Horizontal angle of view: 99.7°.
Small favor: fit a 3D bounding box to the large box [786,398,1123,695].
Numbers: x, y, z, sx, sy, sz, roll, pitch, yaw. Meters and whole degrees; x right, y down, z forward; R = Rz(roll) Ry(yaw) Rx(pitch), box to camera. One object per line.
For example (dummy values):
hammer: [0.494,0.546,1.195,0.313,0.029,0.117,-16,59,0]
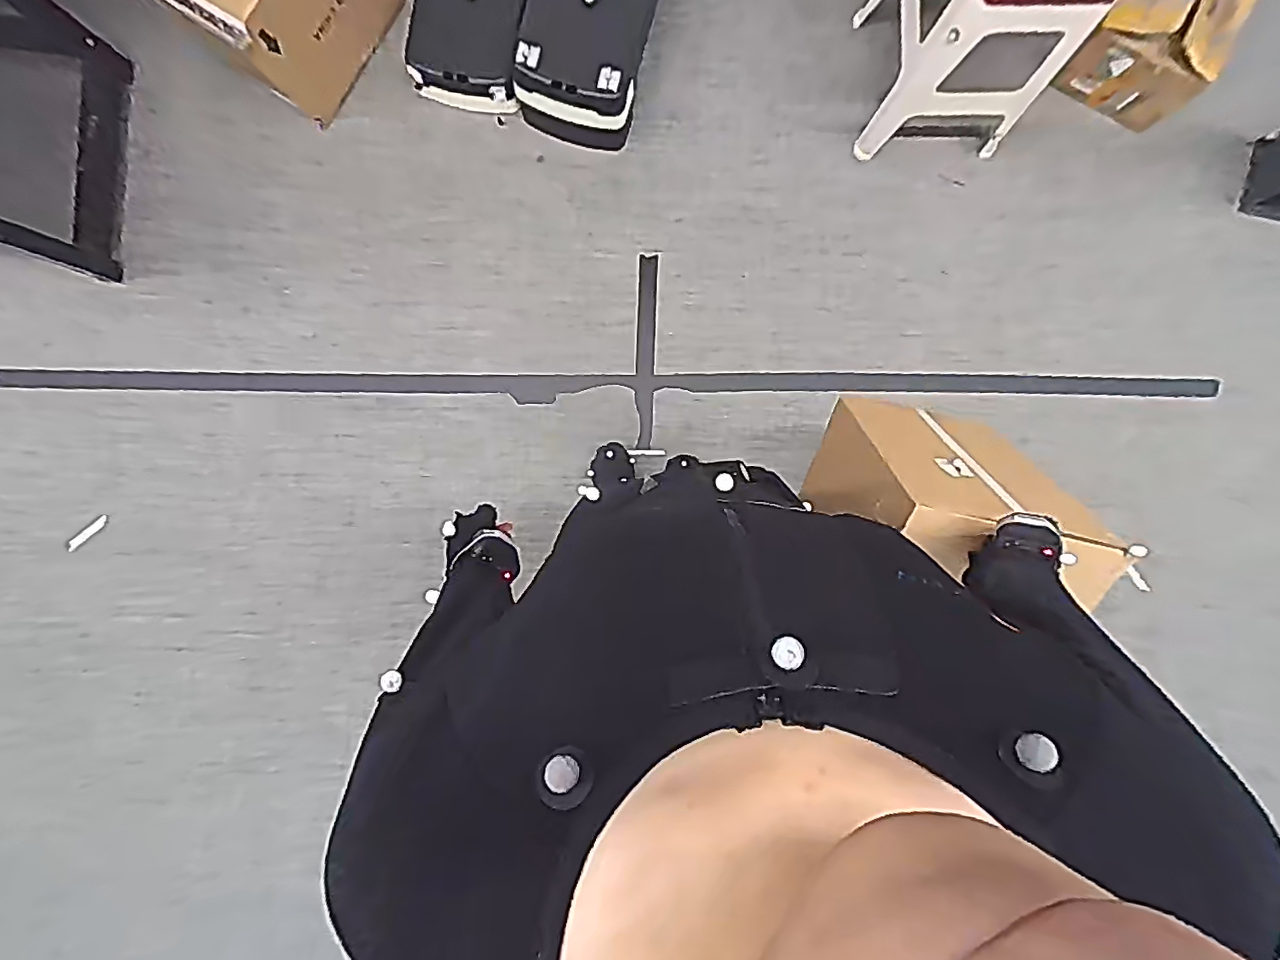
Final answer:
large box: [0.492,0.099,0.974,0.320,0.408,0.320,12,121,-3]
